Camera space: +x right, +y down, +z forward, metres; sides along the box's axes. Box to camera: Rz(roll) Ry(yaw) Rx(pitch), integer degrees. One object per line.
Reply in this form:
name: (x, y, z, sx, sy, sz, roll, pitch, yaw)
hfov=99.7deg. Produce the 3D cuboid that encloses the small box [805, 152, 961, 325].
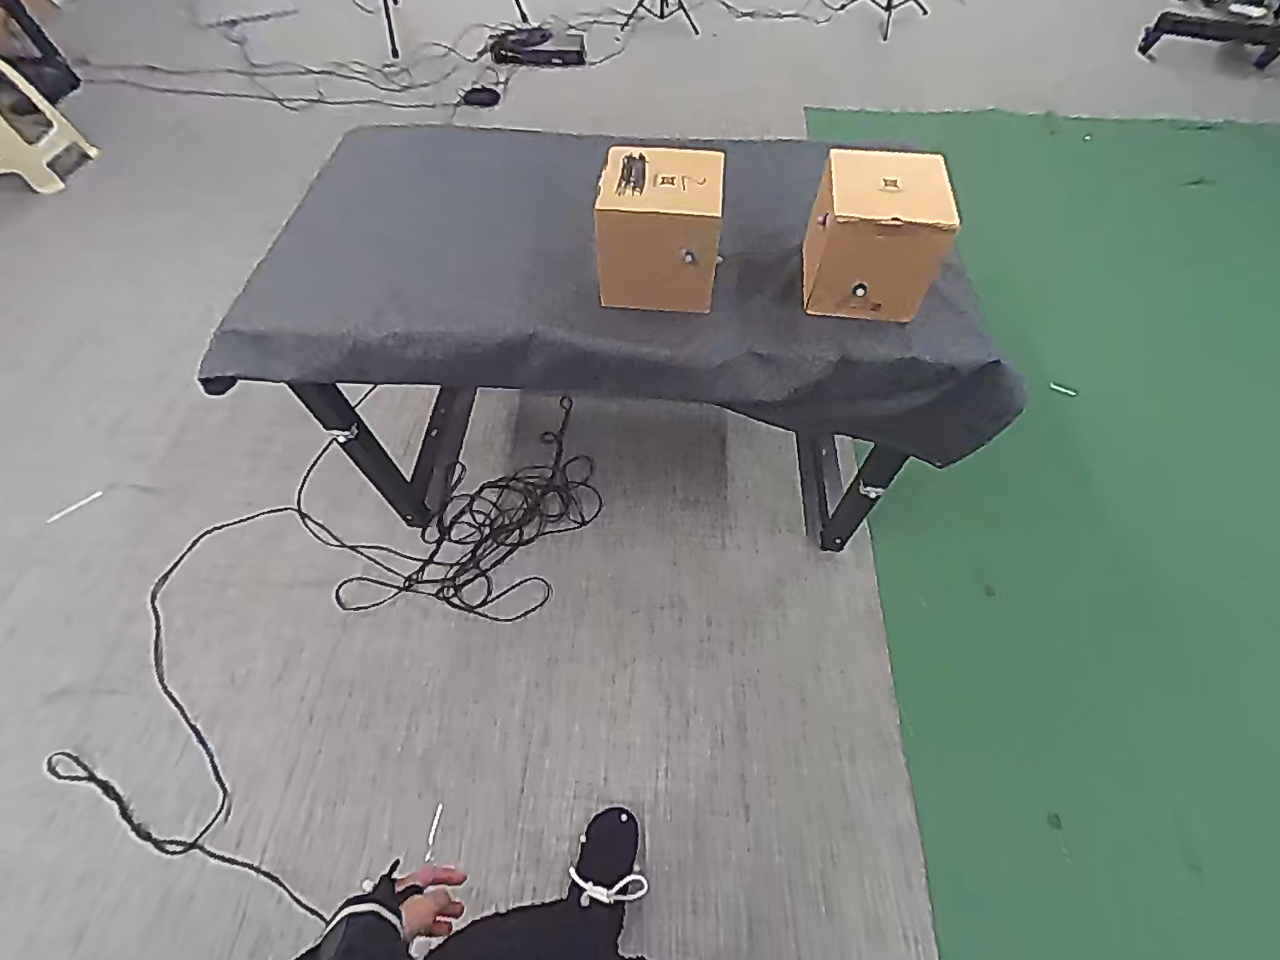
small box: (0.356, -0.368, 0.831, 0.168, 0.176, 0.179, 7, 59, 5)
